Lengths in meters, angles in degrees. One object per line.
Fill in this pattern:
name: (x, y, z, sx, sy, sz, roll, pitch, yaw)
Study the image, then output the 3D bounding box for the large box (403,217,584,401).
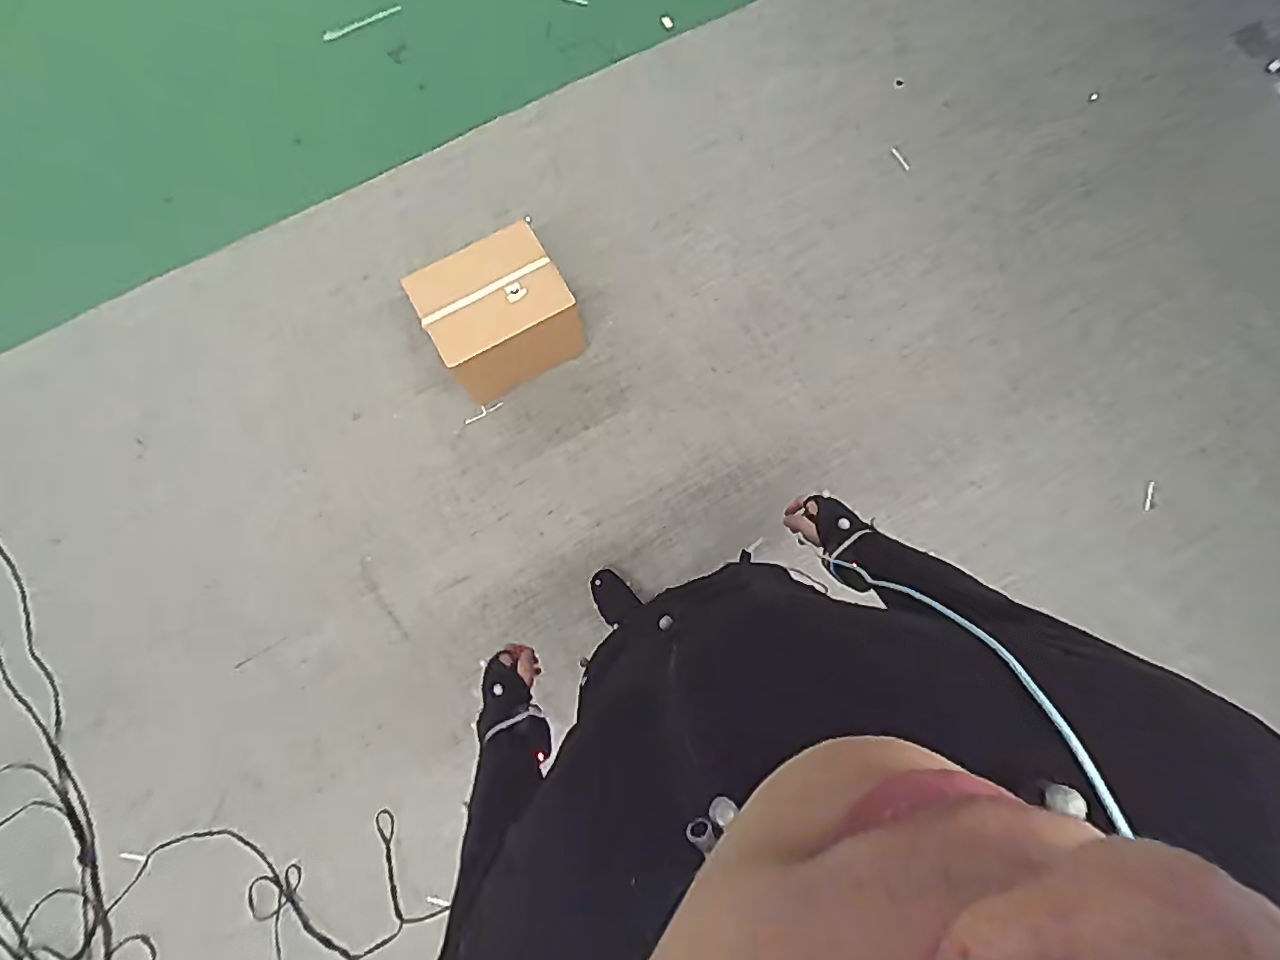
large box: (-0.428, -0.507, 1.665, 0.408, 0.320, 0.320, -29, 80, -7)
